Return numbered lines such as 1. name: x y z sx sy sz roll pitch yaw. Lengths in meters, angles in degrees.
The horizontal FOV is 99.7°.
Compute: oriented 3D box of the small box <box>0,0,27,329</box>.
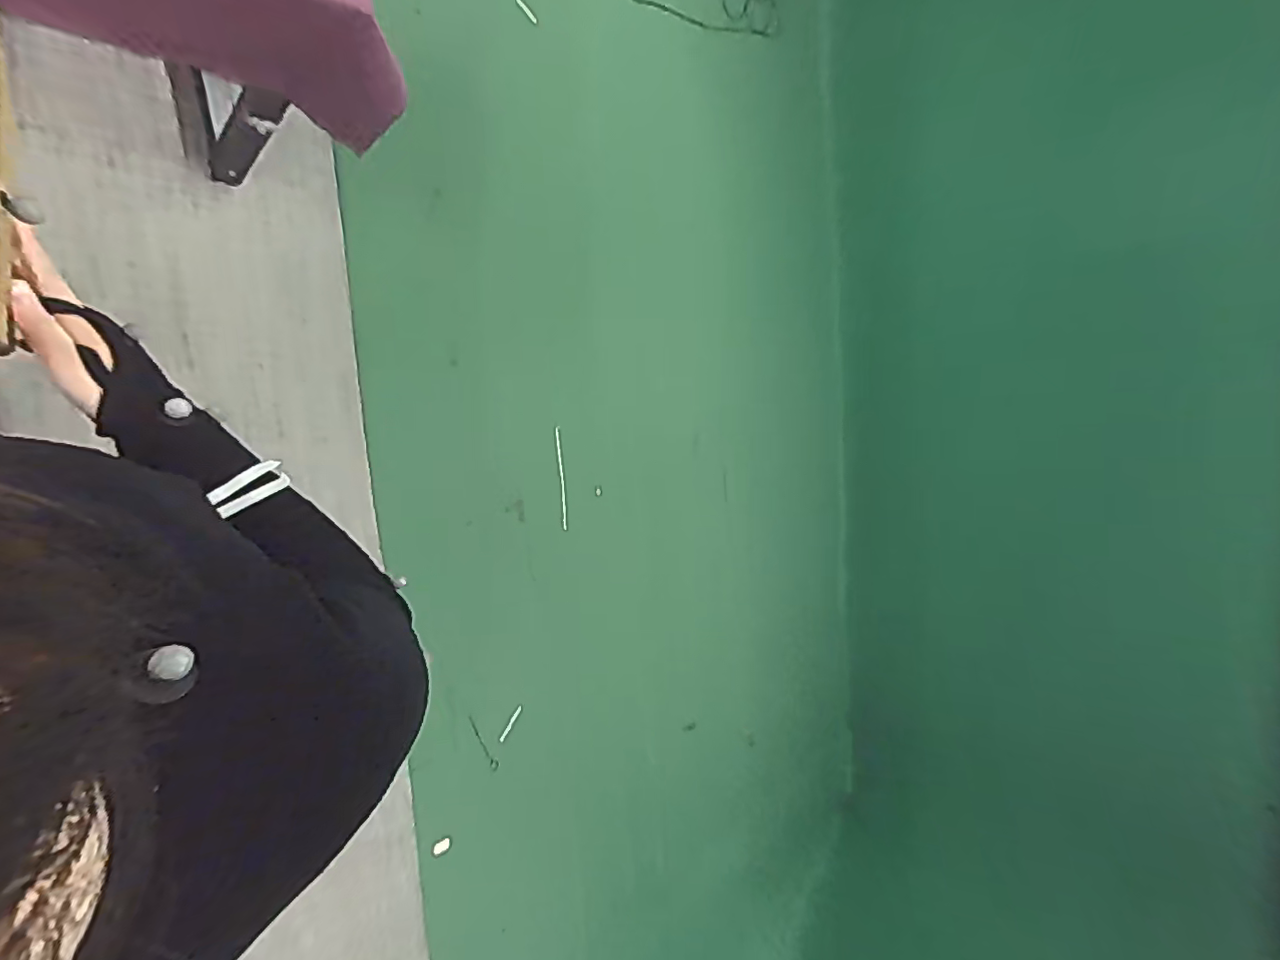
1. small box: -0.460 -0.189 0.293 0.168 0.176 0.179 0 97 -48
